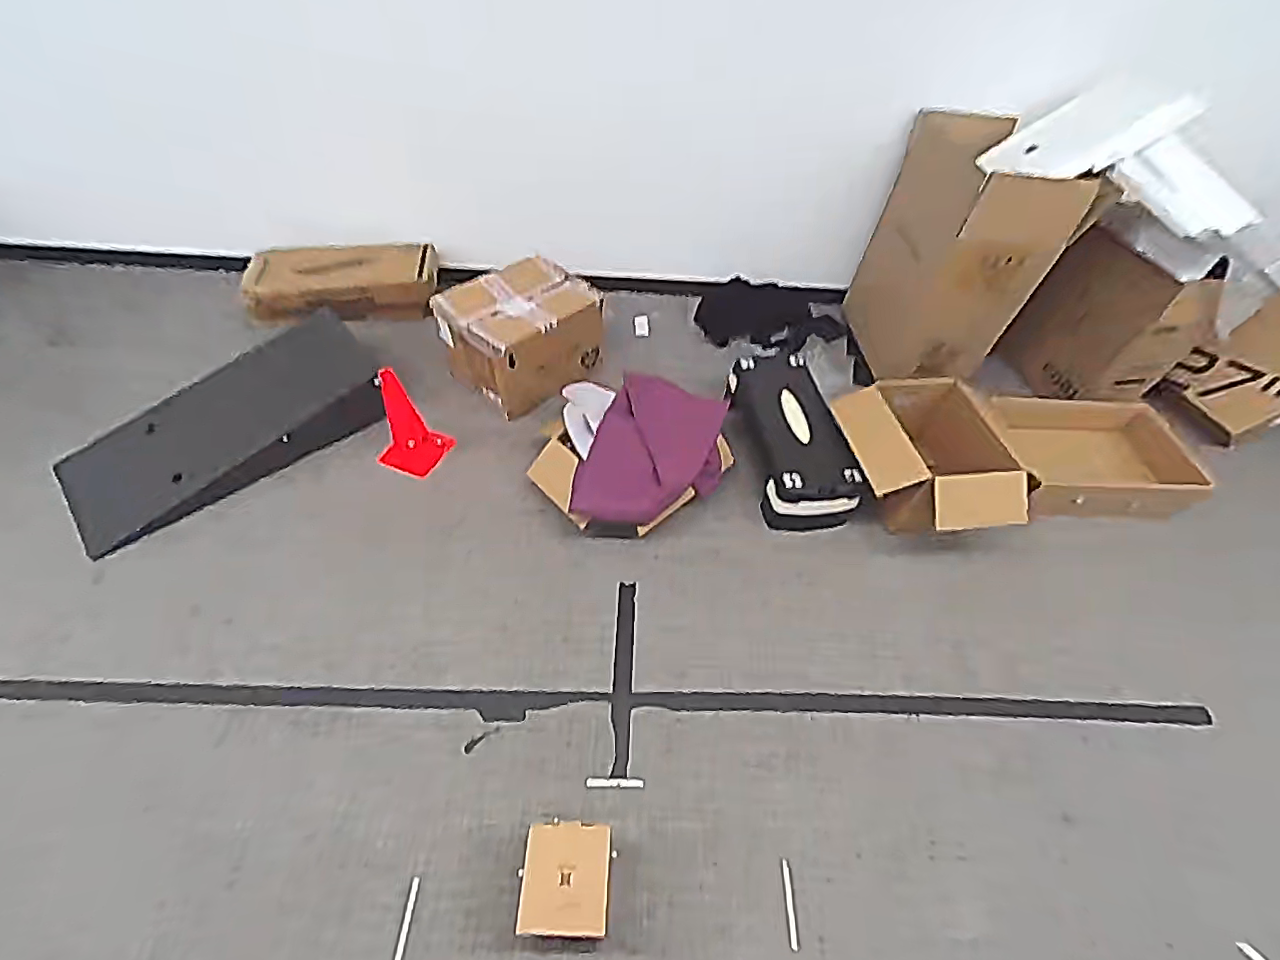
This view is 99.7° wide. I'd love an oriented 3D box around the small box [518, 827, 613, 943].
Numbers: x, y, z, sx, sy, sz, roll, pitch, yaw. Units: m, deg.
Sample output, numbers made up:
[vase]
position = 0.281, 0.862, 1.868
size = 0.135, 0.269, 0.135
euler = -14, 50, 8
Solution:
[small box]
position = -0.143, 0.820, 1.095
size = 0.168, 0.176, 0.179
euler = 2, 52, -1
